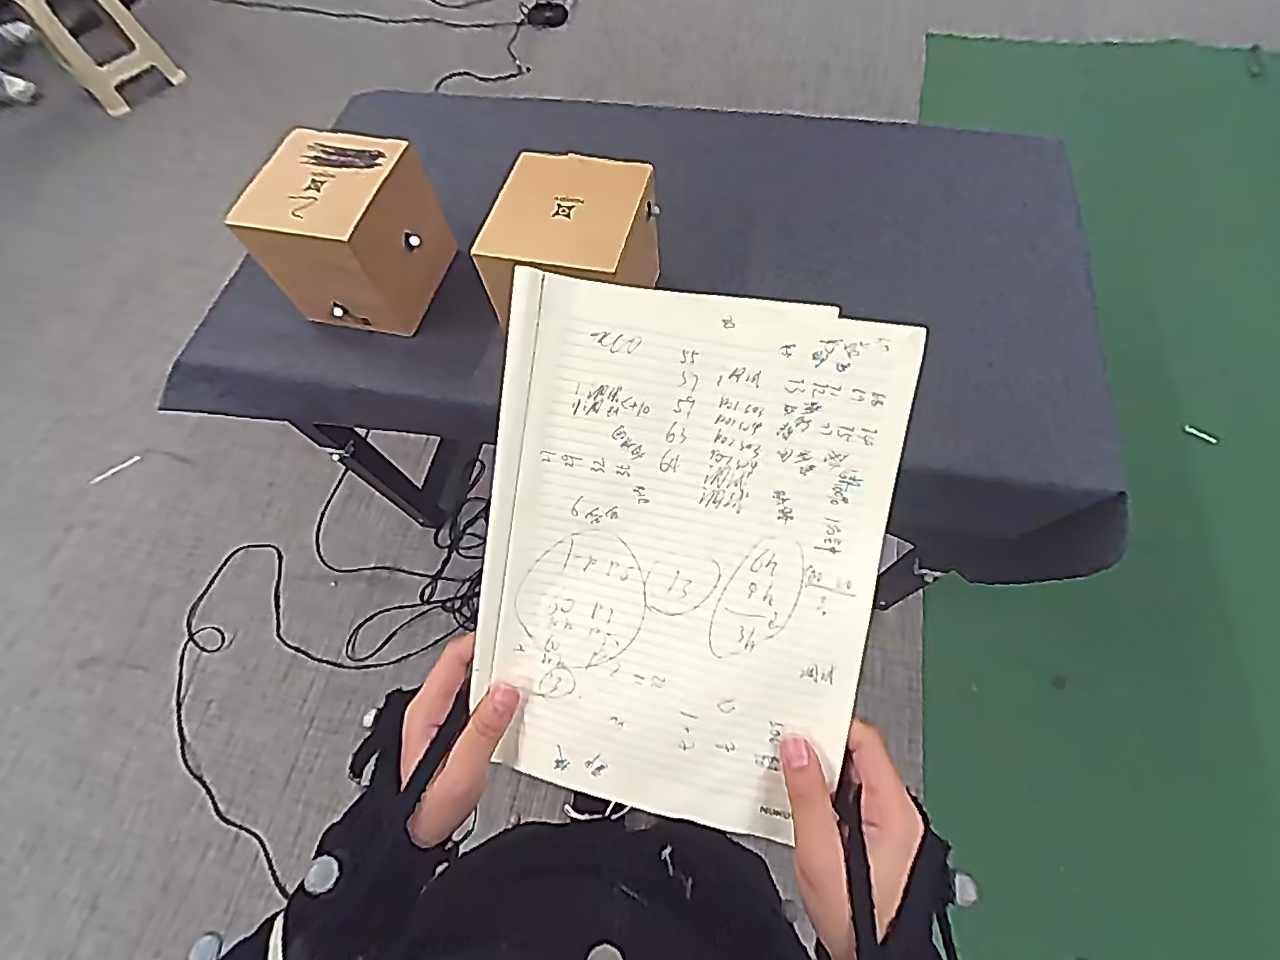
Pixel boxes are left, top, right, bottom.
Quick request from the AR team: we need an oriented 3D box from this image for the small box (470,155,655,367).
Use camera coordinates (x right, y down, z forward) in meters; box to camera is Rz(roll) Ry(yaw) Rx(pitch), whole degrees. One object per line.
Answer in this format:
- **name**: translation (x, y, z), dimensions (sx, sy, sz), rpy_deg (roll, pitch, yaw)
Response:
- **small box**: translation (-0.079, -0.264, 0.671), dimensions (0.168, 0.176, 0.179), rpy_deg (11, 65, 9)
